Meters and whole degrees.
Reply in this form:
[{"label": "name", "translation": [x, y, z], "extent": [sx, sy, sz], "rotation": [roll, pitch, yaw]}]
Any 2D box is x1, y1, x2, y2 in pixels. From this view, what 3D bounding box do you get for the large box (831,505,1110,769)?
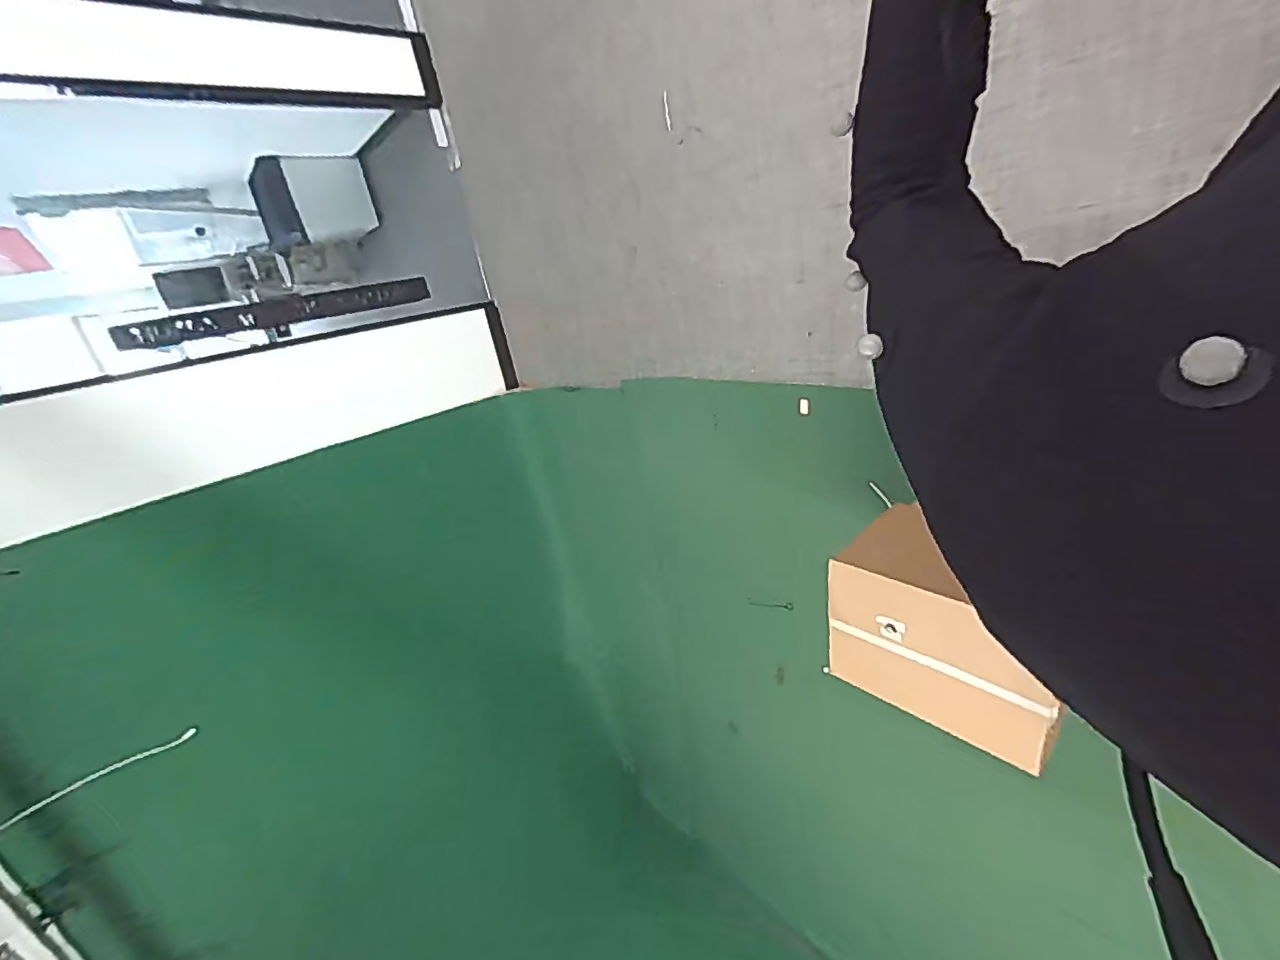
[{"label": "large box", "translation": [0.660, 0.283, 1.117], "extent": [0.408, 0.320, 0.320], "rotation": [17, 123, 47]}]
